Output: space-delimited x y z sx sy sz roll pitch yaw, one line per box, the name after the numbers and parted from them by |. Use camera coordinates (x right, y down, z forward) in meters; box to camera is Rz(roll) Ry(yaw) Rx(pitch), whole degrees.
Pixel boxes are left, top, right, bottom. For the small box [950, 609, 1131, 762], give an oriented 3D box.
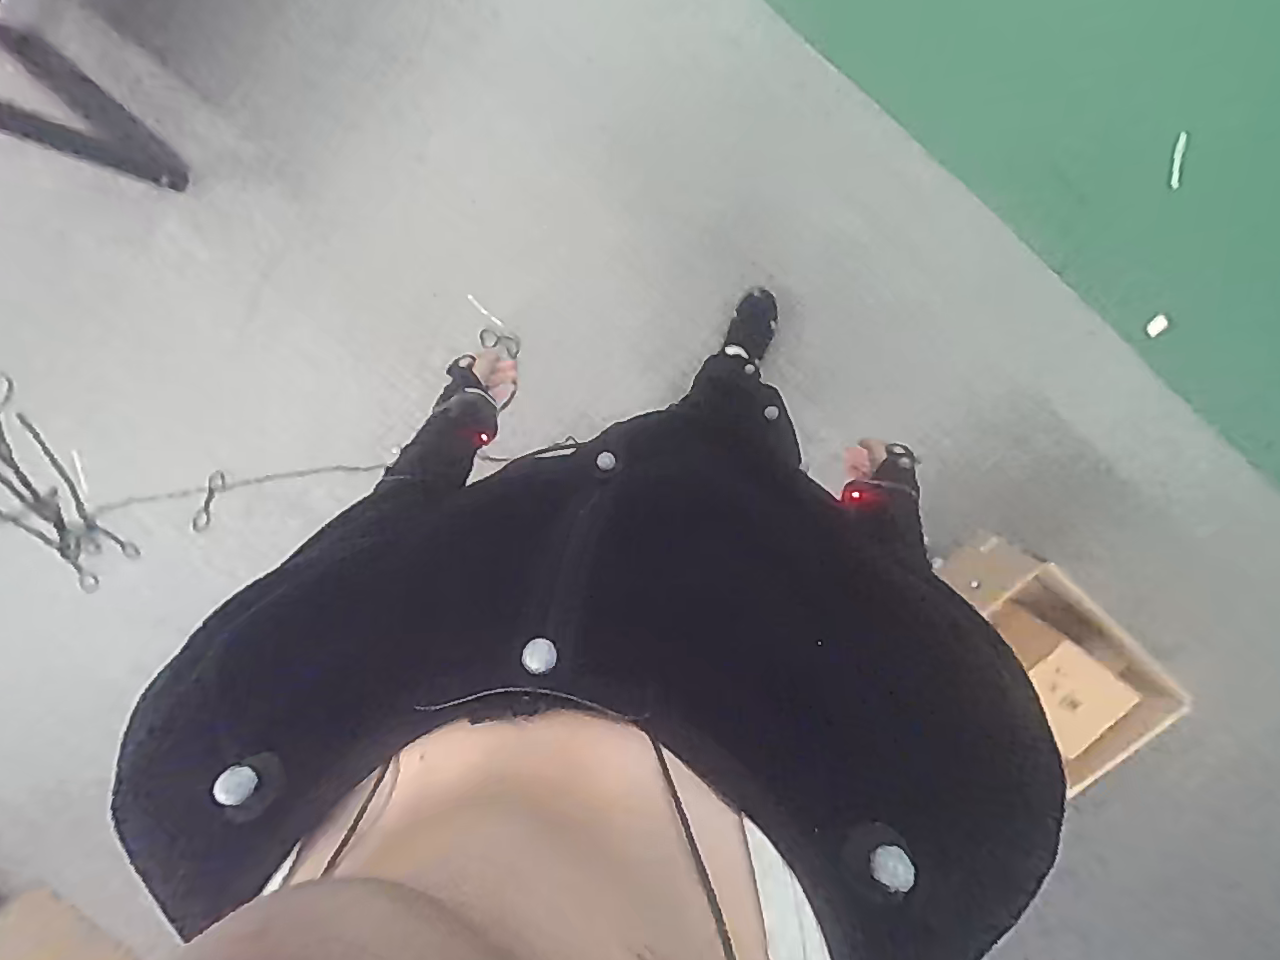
0.742 0.377 1.023 0.179 0.176 0.168 38 100 -4 | small box
